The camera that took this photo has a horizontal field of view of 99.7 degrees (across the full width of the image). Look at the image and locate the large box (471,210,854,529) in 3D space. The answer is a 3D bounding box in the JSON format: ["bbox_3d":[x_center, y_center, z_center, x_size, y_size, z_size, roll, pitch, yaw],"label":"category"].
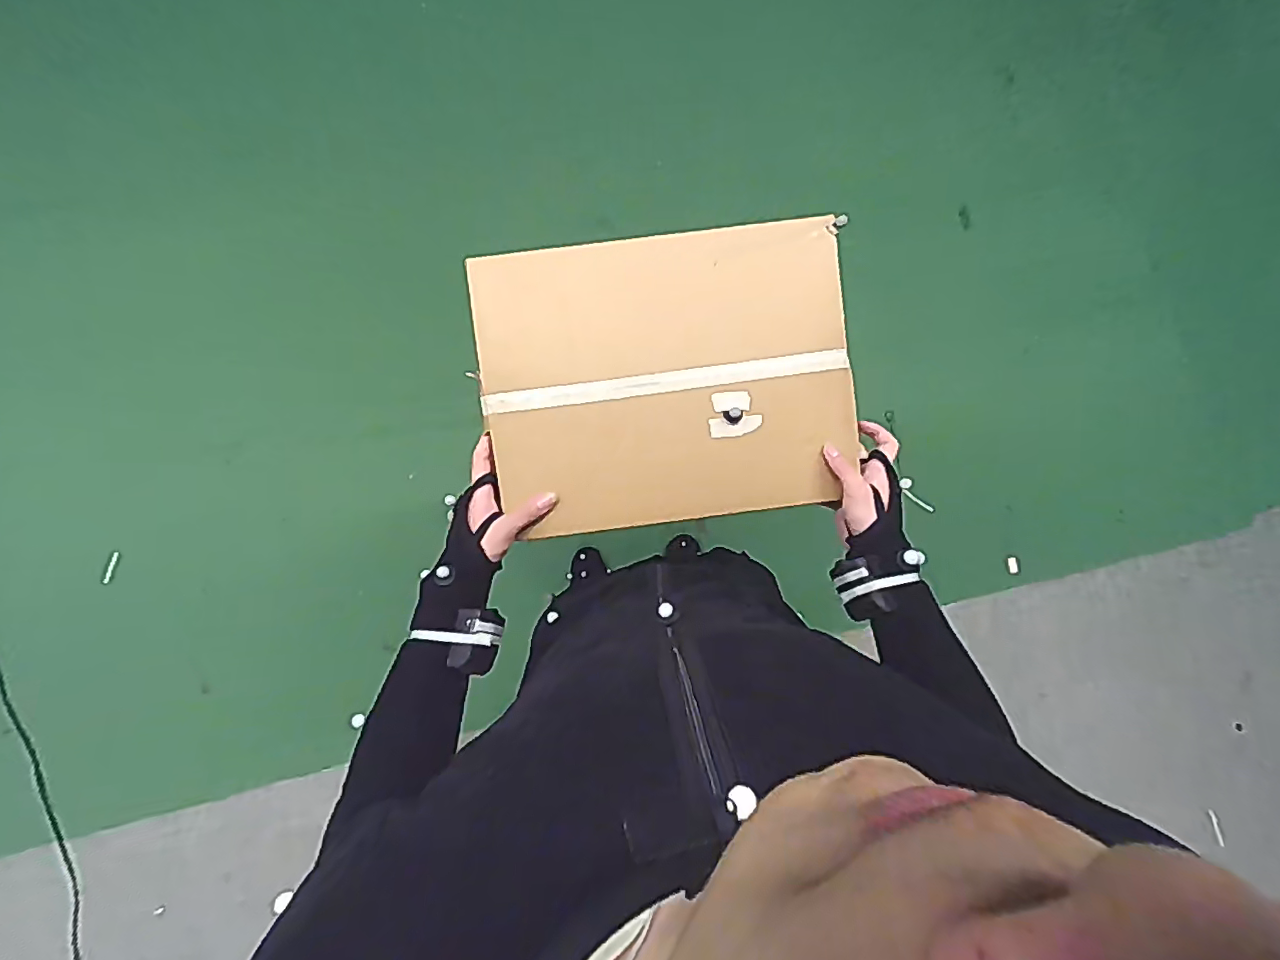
[{"bbox_3d":[0.024,-0.131,0.752,0.408,0.320,0.320,-7,95,-1],"label":"large box"}]
